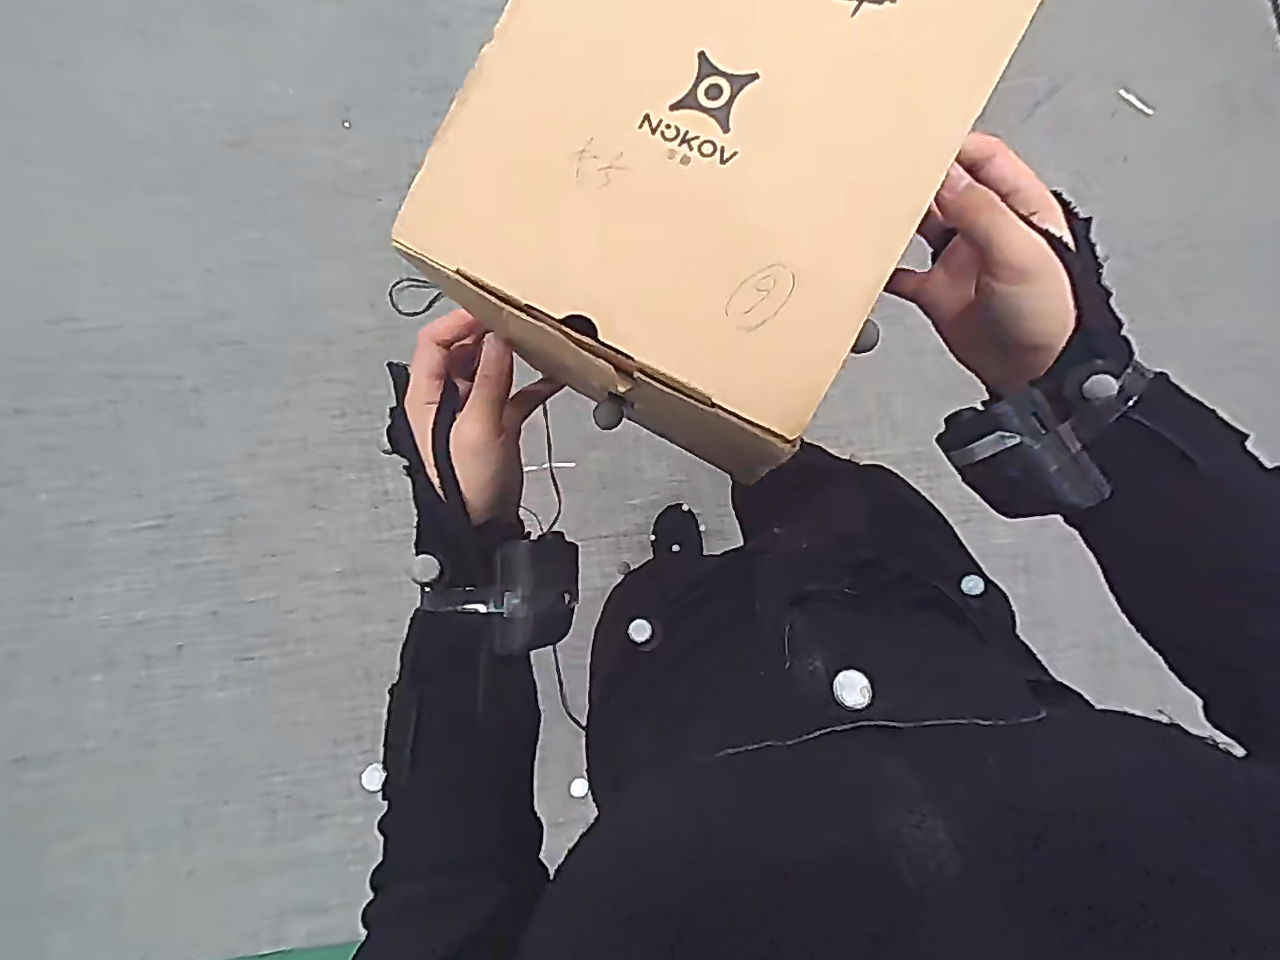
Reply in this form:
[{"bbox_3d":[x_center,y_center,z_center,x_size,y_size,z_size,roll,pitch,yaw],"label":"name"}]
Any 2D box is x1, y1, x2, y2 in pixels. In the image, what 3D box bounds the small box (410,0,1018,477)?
[{"bbox_3d":[0.031,-0.113,0.276,0.168,0.176,0.179,29,90,8],"label":"small box"}]
